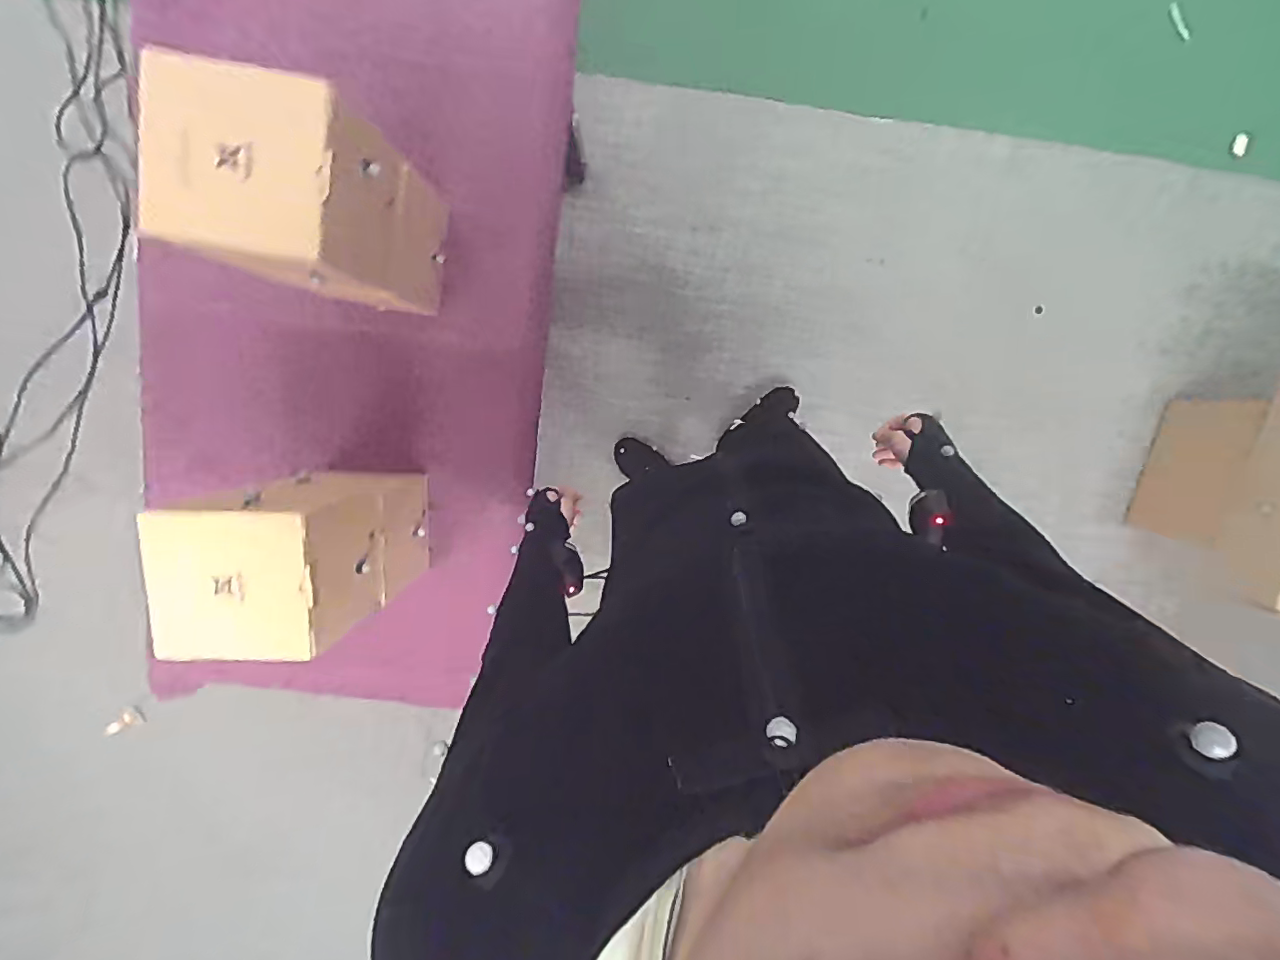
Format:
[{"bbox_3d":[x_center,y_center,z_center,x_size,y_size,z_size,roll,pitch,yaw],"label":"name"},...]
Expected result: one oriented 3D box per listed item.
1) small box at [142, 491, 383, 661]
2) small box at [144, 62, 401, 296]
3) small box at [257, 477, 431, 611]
[{"bbox_3d":[-0.441,0.107,0.660,0.179,0.176,0.168,0,97,0],"label":"small box"},{"bbox_3d":[-0.390,-0.313,0.602,0.179,0.176,0.168,9,97,-1],"label":"small box"},{"bbox_3d":[-0.437,0.088,0.822,0.179,0.176,0.168,2,98,0],"label":"small box"}]
